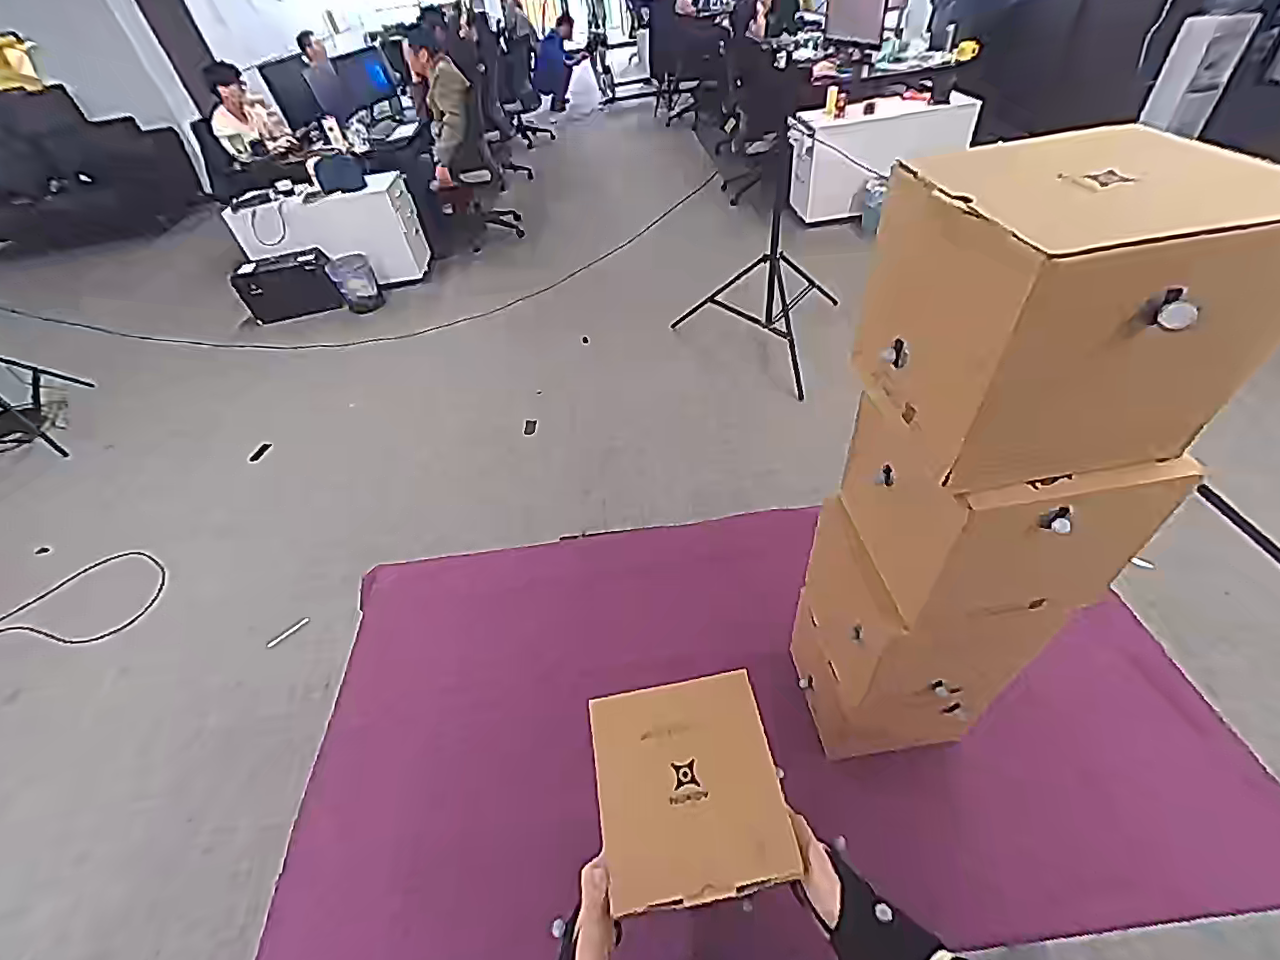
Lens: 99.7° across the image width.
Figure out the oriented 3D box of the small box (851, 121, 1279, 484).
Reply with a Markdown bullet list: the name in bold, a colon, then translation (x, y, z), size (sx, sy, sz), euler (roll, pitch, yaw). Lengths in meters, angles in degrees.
- **small box**: translation (0.271, -0.119, 0.372), size (0.179, 0.176, 0.168), euler (-10, 45, -1)

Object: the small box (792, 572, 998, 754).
- **small box**: translation (0.312, 0.237, 0.708), size (0.179, 0.176, 0.168), euler (-9, 44, 0)

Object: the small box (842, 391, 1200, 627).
- **small box**: translation (0.296, 0.003, 0.478), size (0.168, 0.176, 0.179), euler (-9, 44, 0)

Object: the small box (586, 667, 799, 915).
- **small box**: translation (0.046, 0.320, 0.556), size (0.168, 0.176, 0.179), euler (-11, 50, -4)
